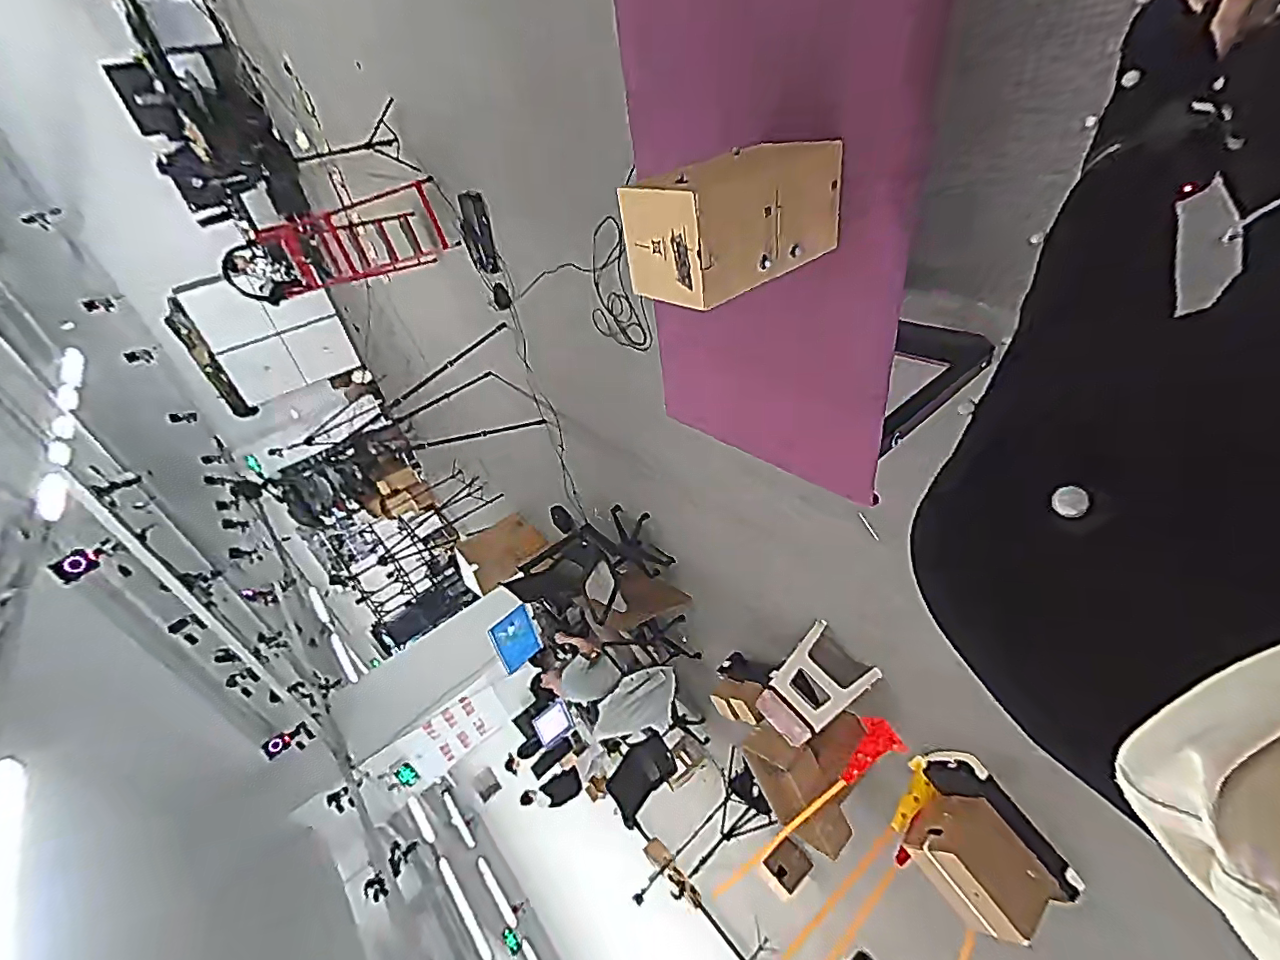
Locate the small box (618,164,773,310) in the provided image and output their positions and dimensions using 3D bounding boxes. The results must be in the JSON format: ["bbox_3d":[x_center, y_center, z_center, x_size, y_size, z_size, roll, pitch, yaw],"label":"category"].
[{"bbox_3d":[0.094,-0.389,0.854,0.179,0.176,0.168,32,144,42],"label":"small box"}]
